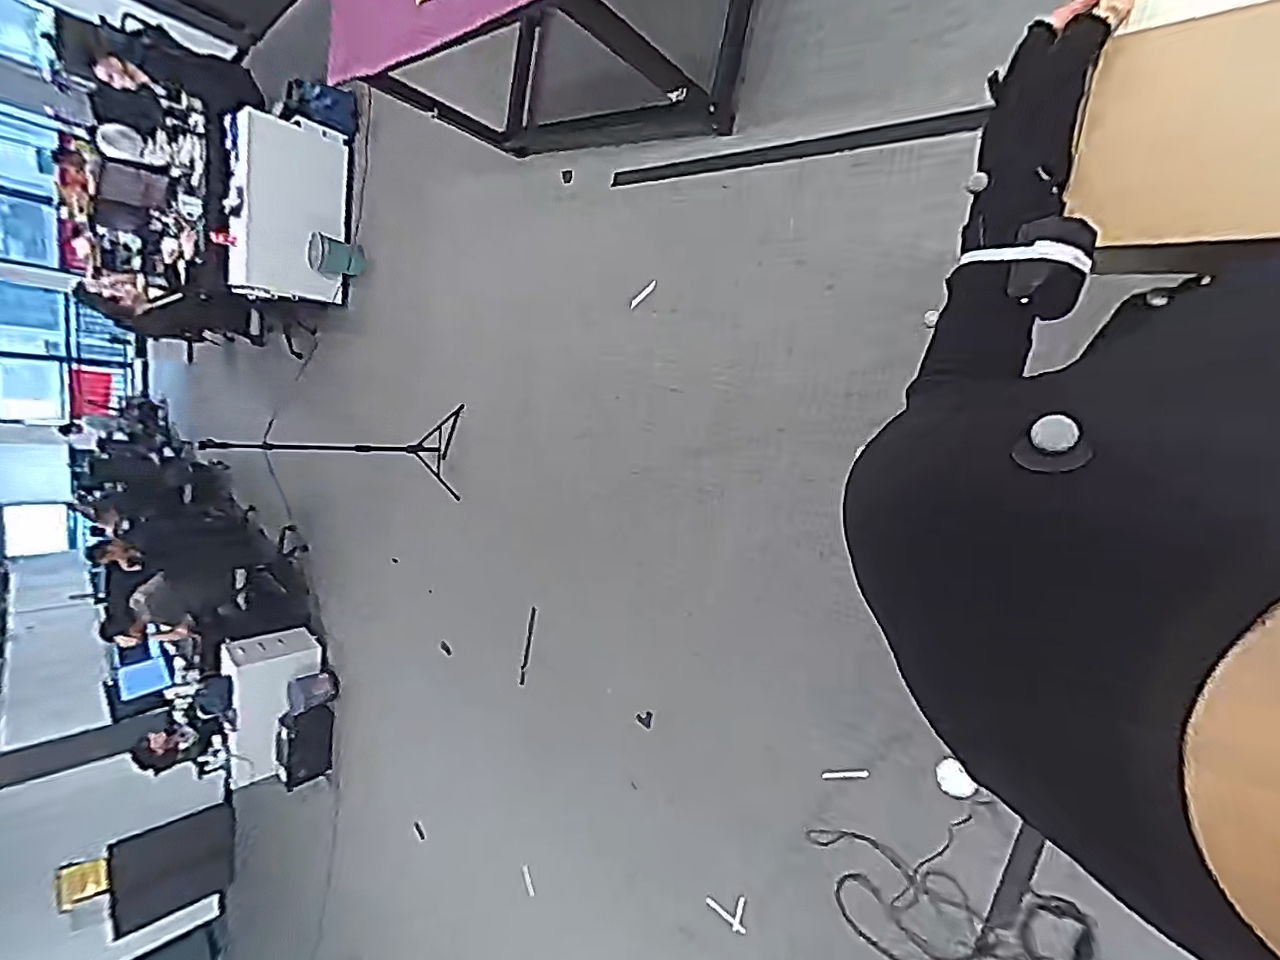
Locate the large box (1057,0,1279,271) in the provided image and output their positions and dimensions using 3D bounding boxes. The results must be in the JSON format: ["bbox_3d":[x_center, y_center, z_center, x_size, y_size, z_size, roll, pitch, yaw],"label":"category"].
[{"bbox_3d":[0.602,-0.341,0.405,0.408,0.320,0.320,16,113,38],"label":"large box"}]
